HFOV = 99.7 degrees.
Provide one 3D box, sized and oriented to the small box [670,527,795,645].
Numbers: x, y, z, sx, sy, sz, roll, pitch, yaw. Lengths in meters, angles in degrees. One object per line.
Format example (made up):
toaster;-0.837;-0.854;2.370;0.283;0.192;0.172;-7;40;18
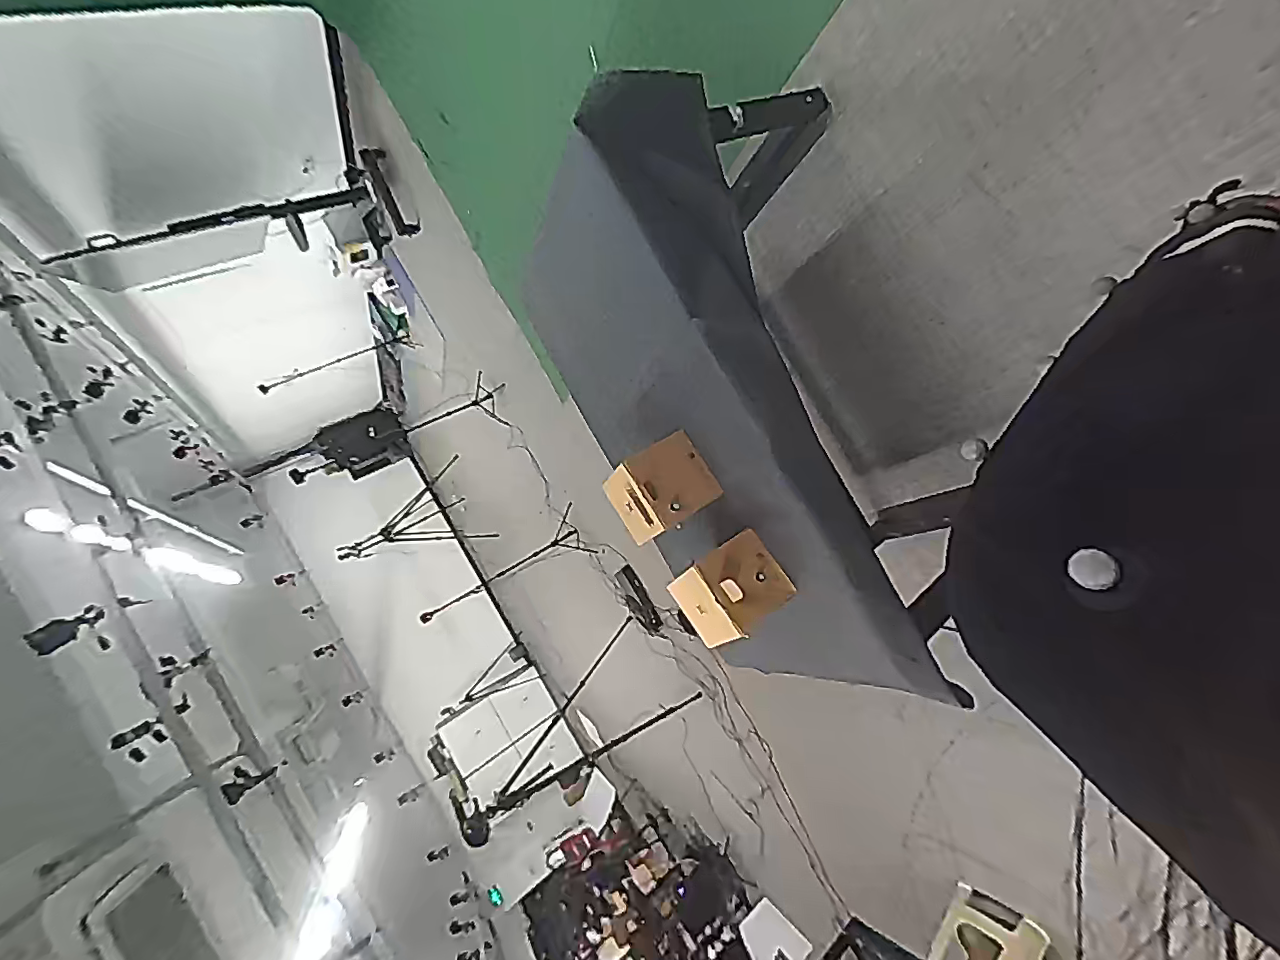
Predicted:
small box;0.196;0.228;1.160;0.168;0.176;0.179;55;153;12
